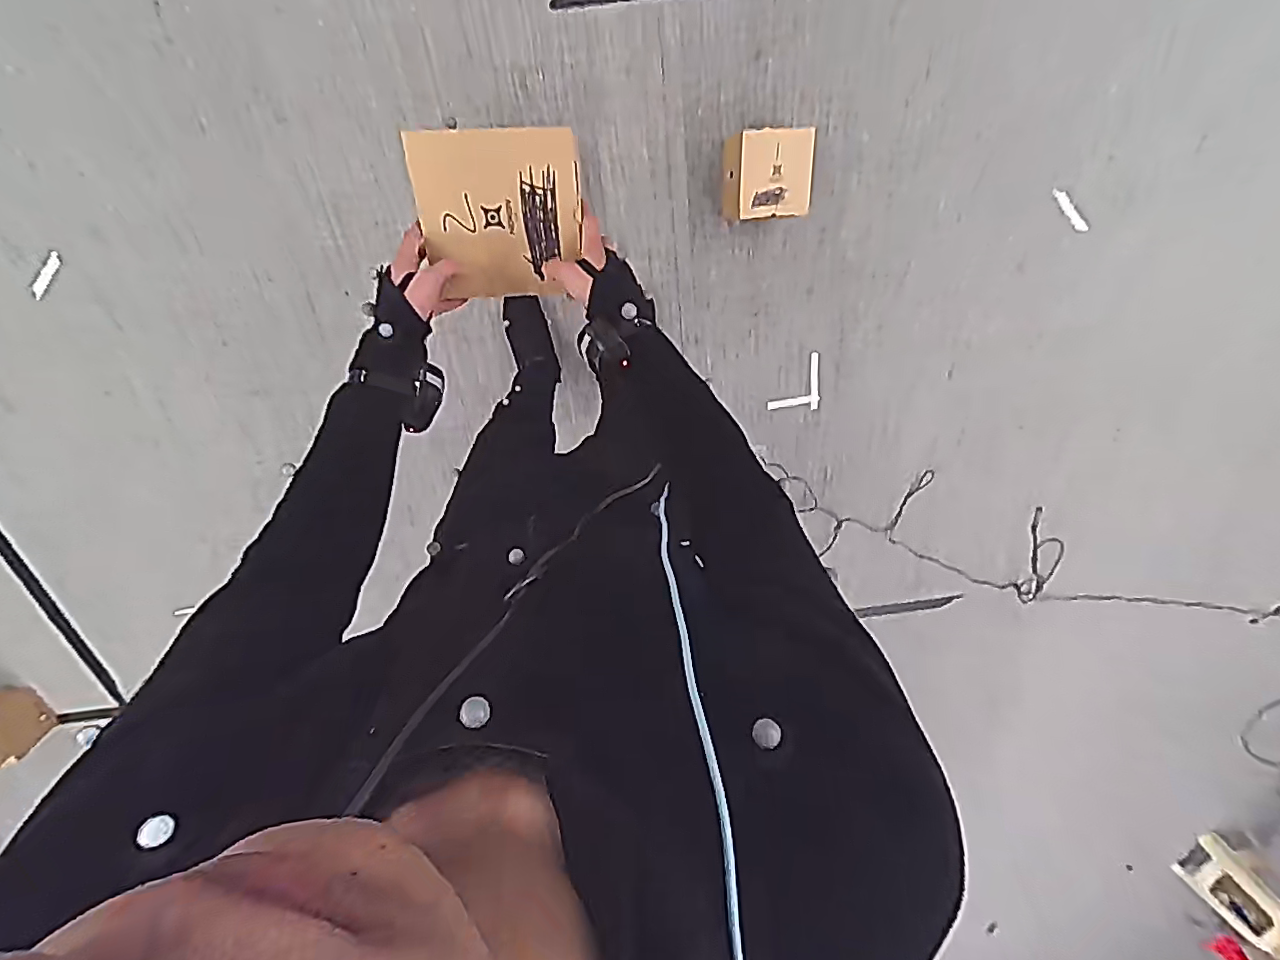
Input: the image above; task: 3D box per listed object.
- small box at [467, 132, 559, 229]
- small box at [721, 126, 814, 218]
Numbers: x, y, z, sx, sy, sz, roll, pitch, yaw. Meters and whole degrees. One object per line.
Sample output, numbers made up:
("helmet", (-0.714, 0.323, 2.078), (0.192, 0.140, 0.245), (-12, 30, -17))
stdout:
("small box", (-0.280, -0.680, 1.236), (0.168, 0.176, 0.179), (-6, 116, -3))
("small box", (0.291, -0.720, 1.274), (0.168, 0.176, 0.179), (-5, 116, -4))
